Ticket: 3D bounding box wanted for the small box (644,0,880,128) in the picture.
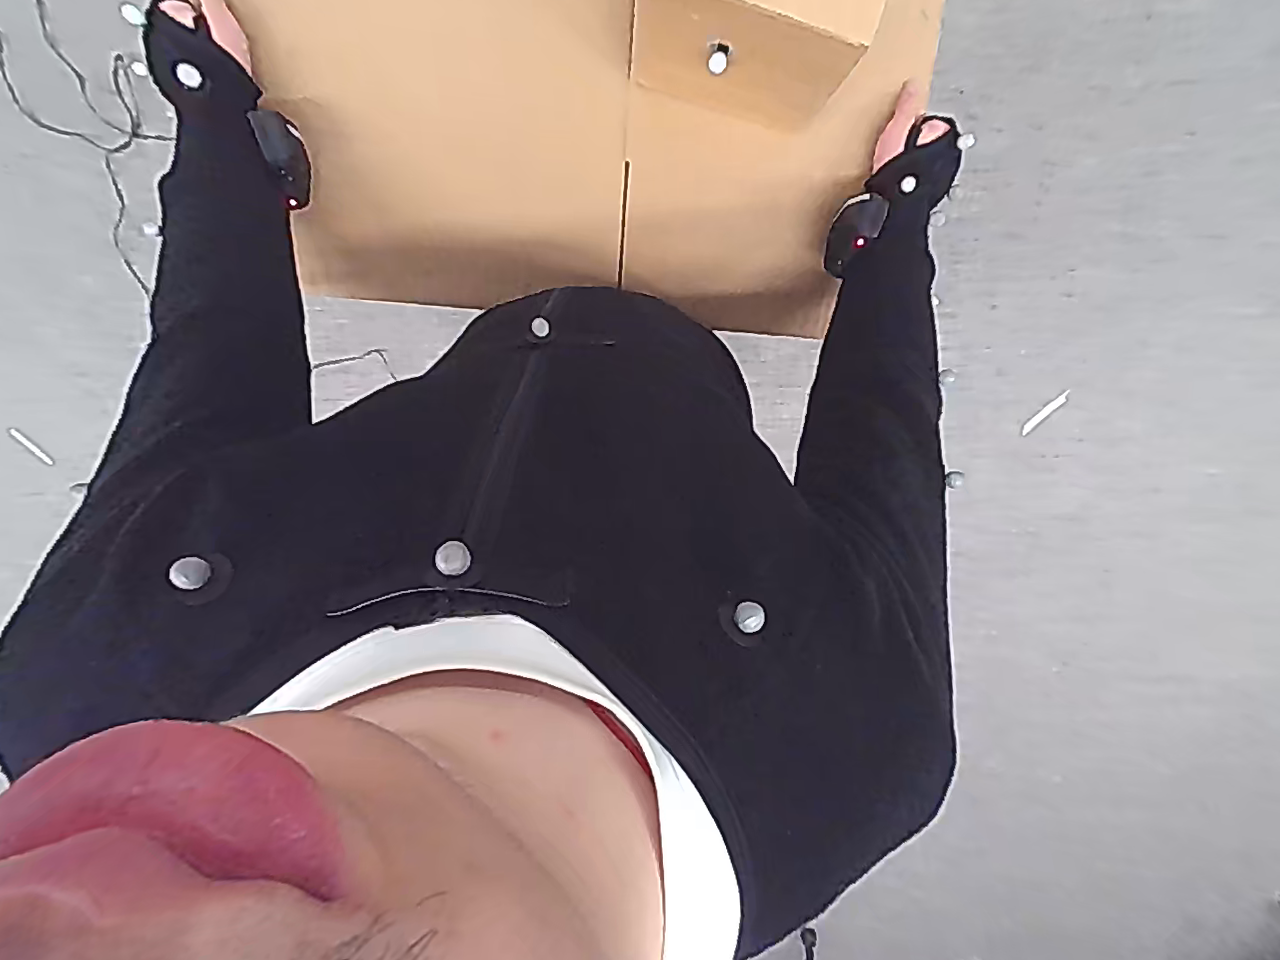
[{"bbox_3d":[0.104,-0.432,0.453,0.179,0.176,0.168,15,103,-4],"label":"small box"}]
